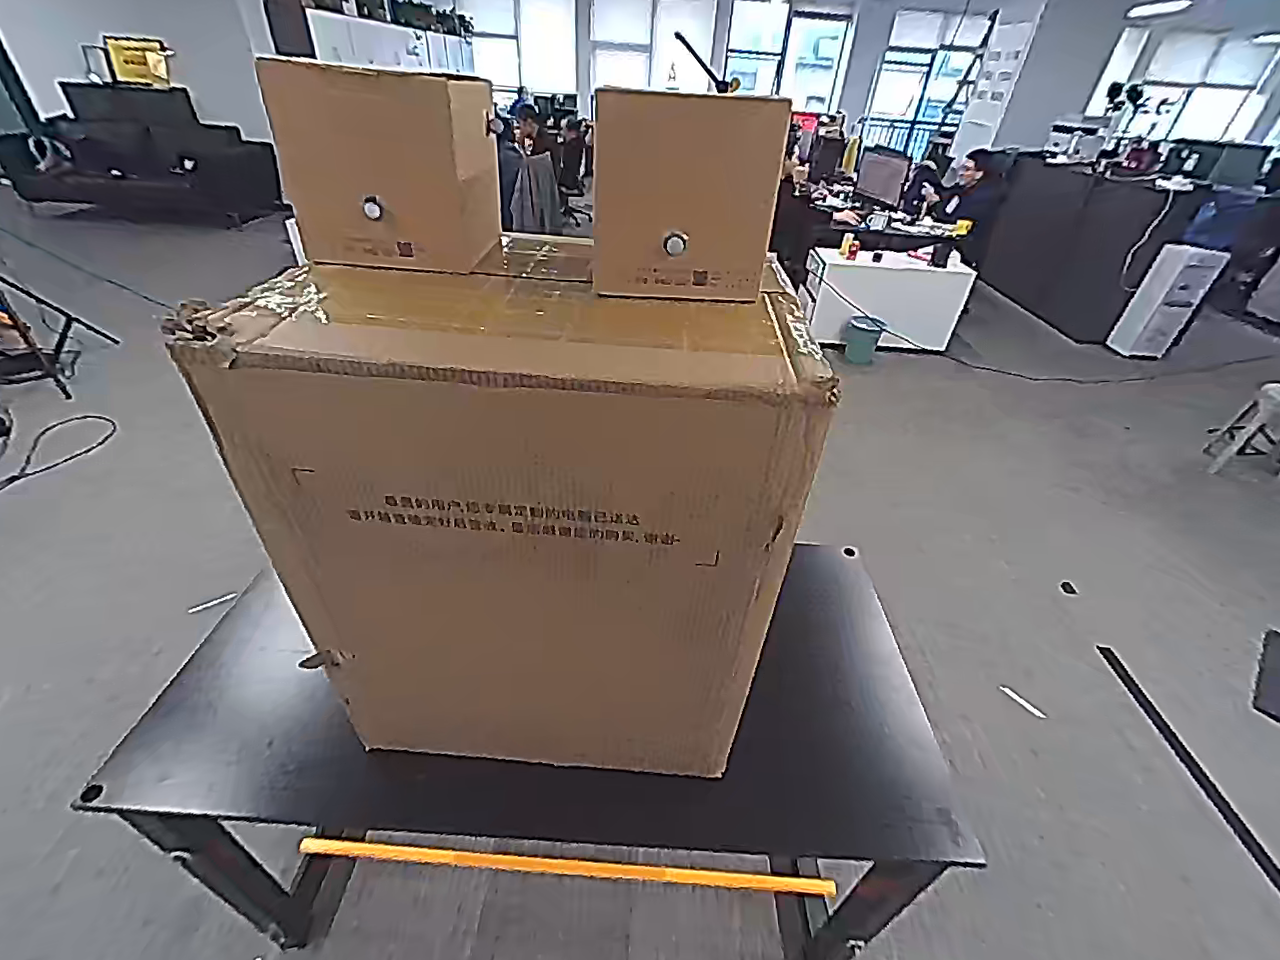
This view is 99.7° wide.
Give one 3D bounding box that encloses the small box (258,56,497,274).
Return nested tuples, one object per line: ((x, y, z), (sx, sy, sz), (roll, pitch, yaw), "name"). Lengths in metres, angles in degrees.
((-0.254, -0.334, 0.579), (0.168, 0.176, 0.179), (3, 35, -2), "small box")

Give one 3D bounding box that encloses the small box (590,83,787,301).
((0.037, -0.296, 0.555), (0.168, 0.176, 0.179), (2, 36, -2), "small box")
